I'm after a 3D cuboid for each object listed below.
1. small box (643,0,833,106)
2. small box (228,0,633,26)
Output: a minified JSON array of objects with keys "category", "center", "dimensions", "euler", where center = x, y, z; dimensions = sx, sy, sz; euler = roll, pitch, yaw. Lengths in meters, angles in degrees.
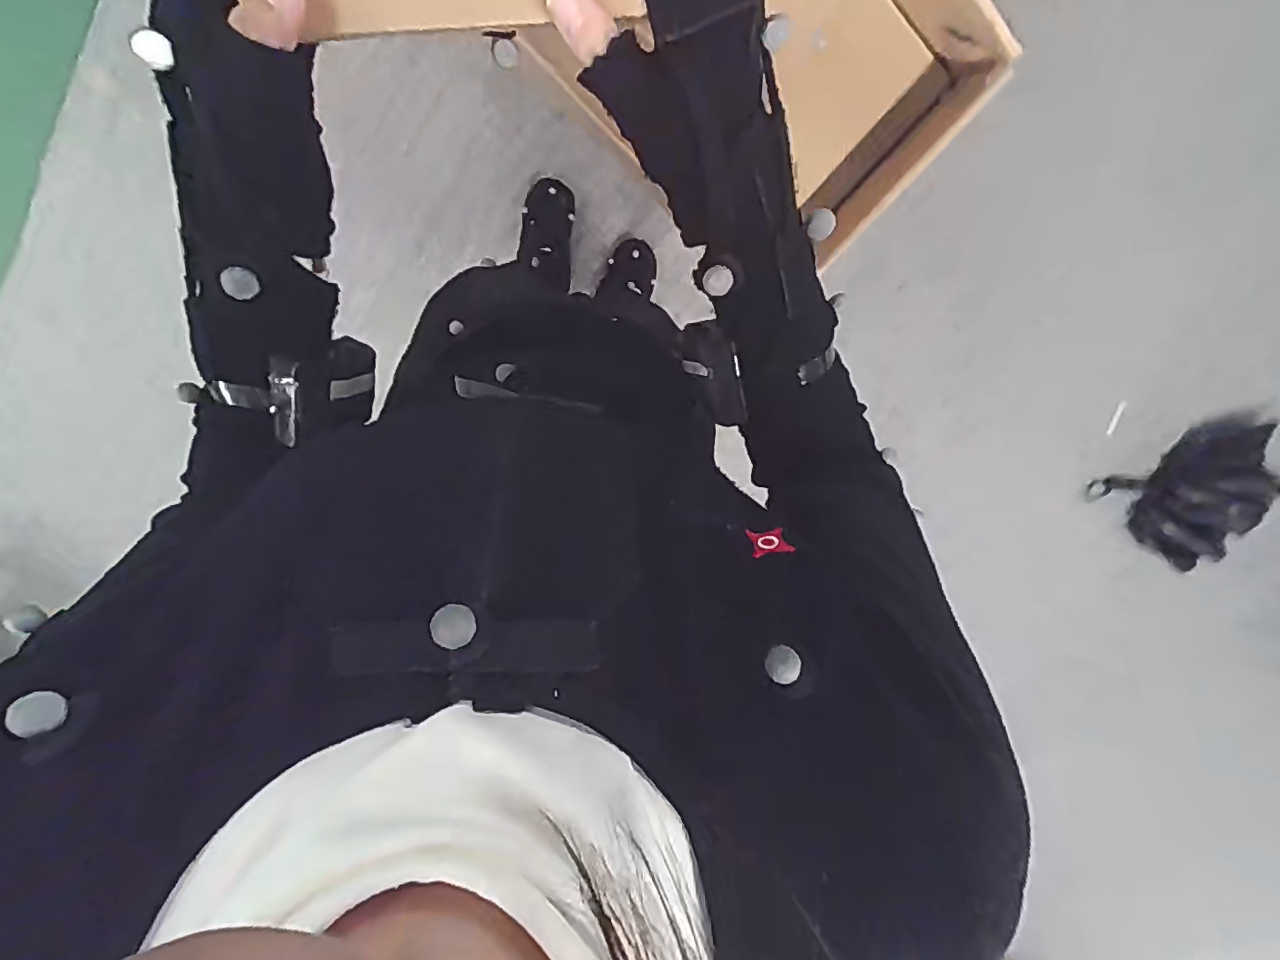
[{"category":"small box","center":[0.110,-0.513,0.529],"dimensions":[0.168,0.176,0.179],"euler":[33,113,-16]},{"category":"small box","center":[-0.086,-0.306,0.222],"dimensions":[0.168,0.176,0.179],"euler":[-1,132,5]}]
